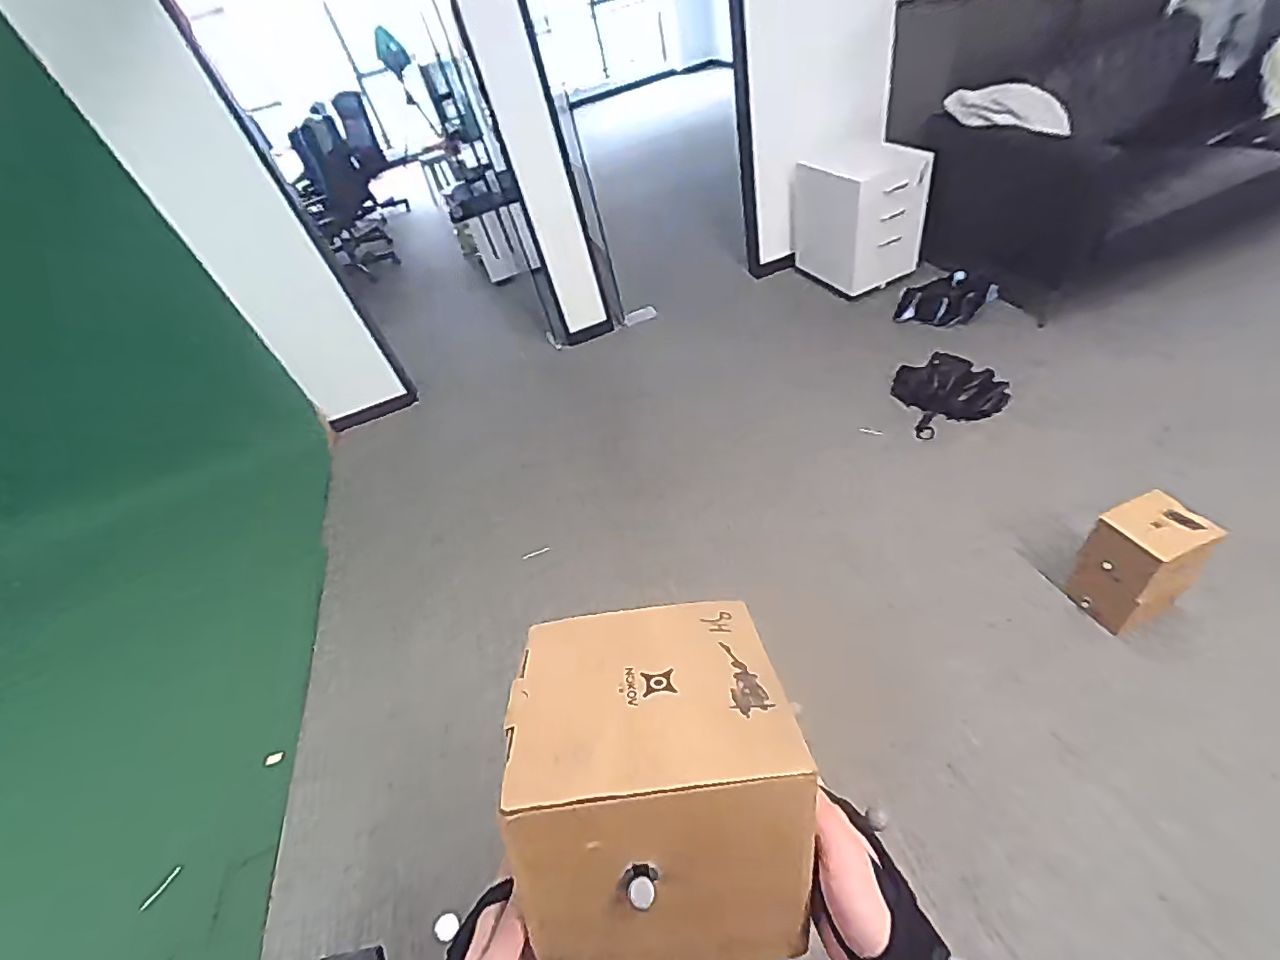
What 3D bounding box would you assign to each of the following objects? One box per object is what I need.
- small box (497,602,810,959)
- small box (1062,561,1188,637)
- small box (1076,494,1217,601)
[{"bbox_3d":[0.012,0.212,0.391,0.179,0.176,0.168,-6,21,-2],"label":"small box"},{"bbox_3d":[1.302,0.292,1.469,0.179,0.176,0.168,-24,42,-6],"label":"small box"},{"bbox_3d":[1.261,0.173,1.363,0.179,0.176,0.168,-22,42,-5],"label":"small box"}]
